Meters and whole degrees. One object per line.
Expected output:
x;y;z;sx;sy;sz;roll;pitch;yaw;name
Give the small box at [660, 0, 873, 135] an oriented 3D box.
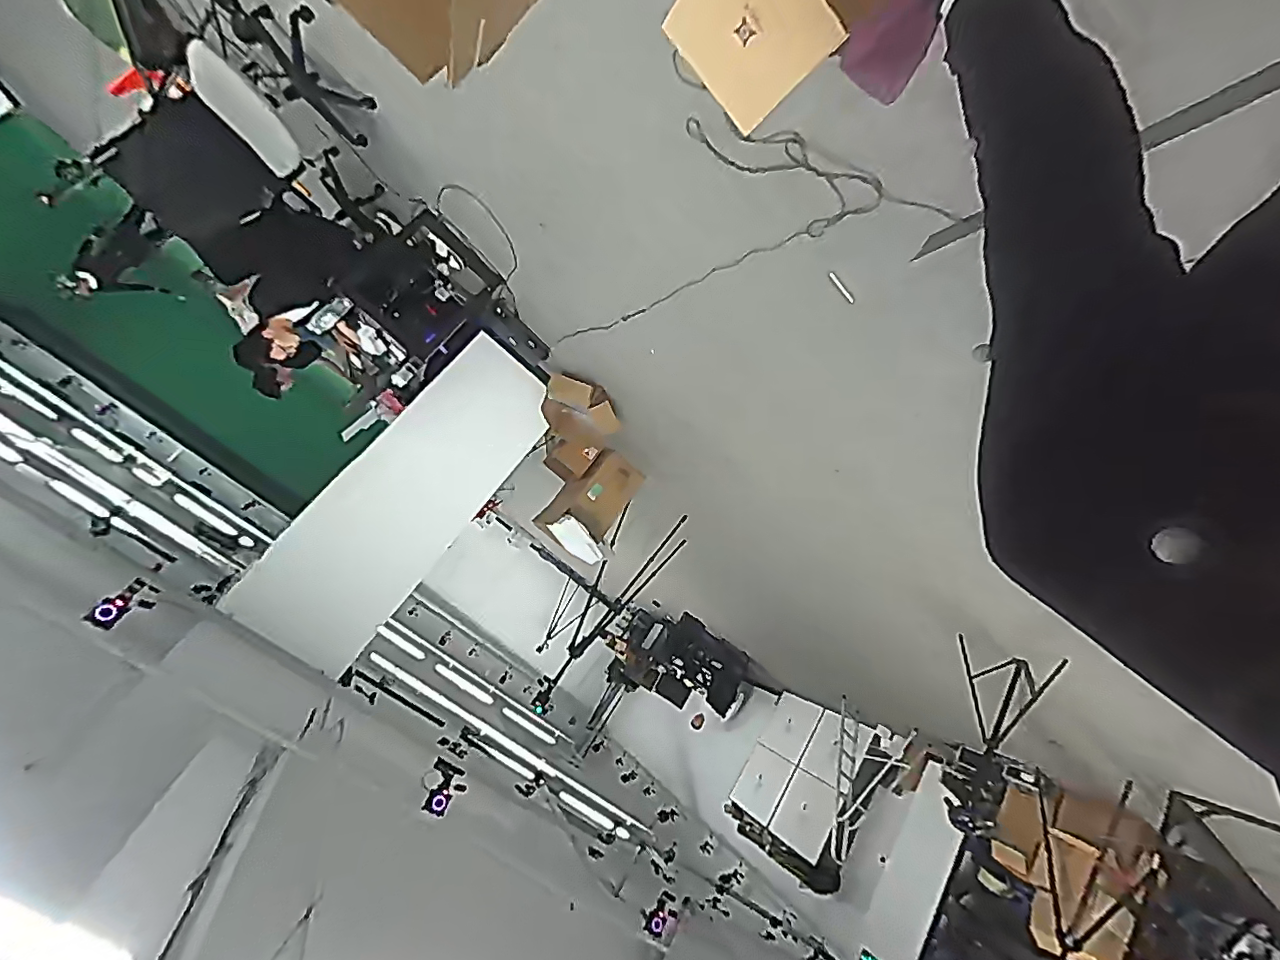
0.162;-0.573;0.641;0.168;0.176;0.179;42;159;-17;small box
